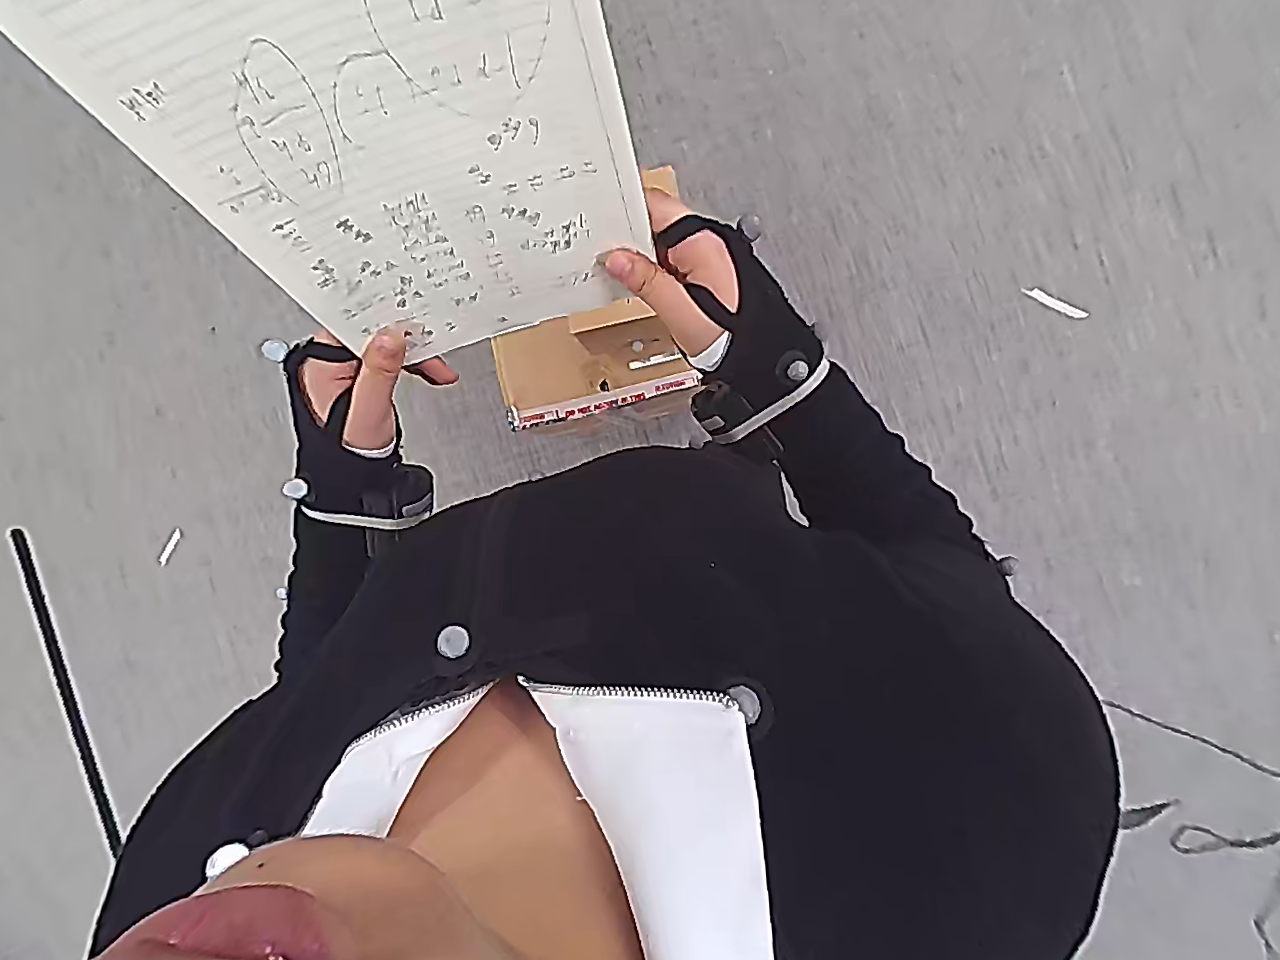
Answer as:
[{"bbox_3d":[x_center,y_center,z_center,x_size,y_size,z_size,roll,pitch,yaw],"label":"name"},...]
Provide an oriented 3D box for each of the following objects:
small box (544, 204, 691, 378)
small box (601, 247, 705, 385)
[{"bbox_3d":[-0.025,-0.254,0.767,0.168,0.176,0.179,-10,93,4],"label":"small box"},{"bbox_3d":[0.005,-0.270,0.929,0.179,0.176,0.168,-14,92,5],"label":"small box"}]
